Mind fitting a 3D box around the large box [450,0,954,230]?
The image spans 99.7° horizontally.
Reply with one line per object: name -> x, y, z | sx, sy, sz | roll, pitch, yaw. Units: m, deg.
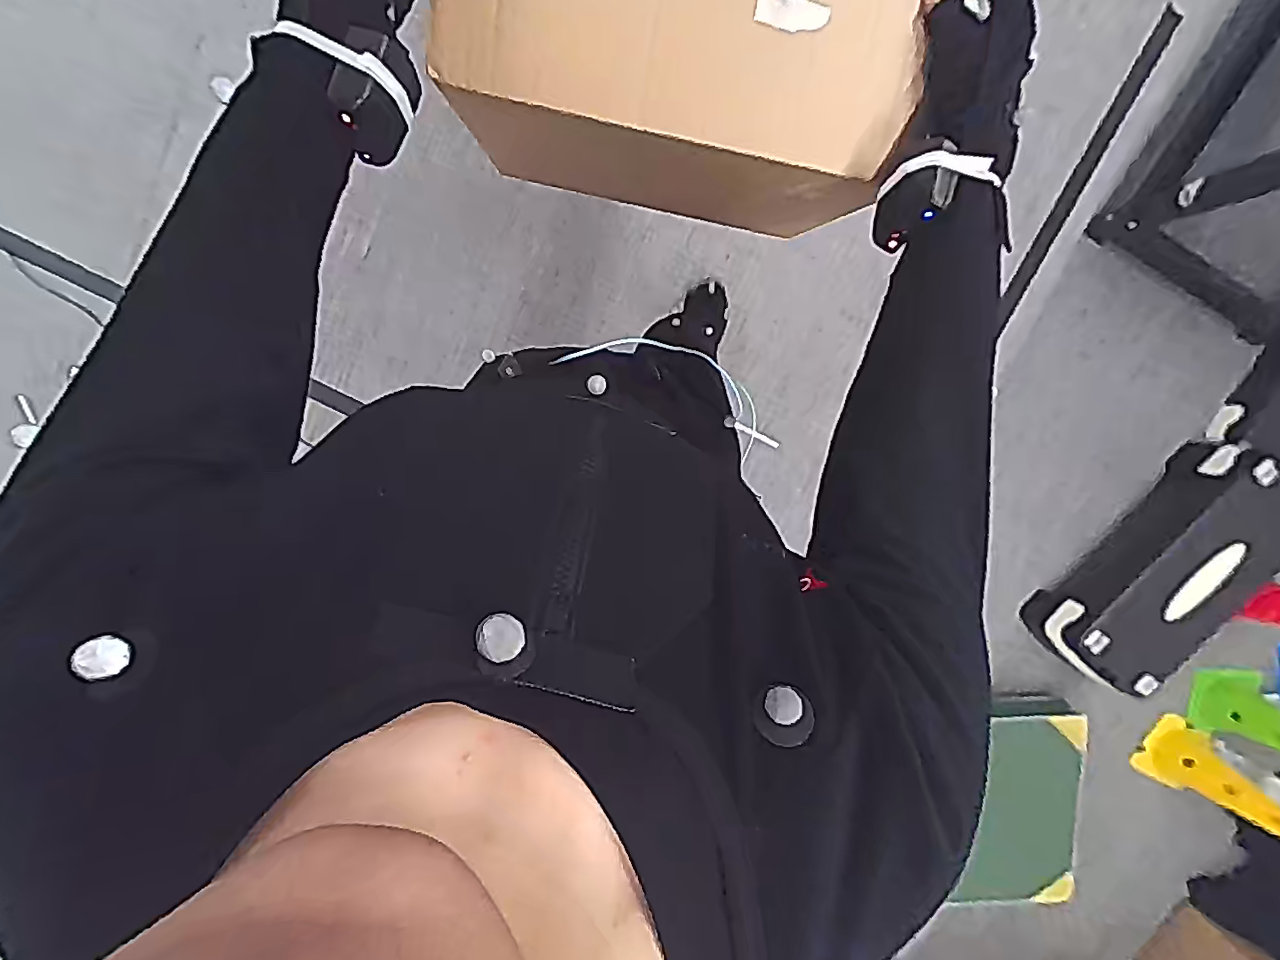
large box -> 0.052, -0.477, 0.556 | 0.408, 0.320, 0.320 | 9, 107, -7
